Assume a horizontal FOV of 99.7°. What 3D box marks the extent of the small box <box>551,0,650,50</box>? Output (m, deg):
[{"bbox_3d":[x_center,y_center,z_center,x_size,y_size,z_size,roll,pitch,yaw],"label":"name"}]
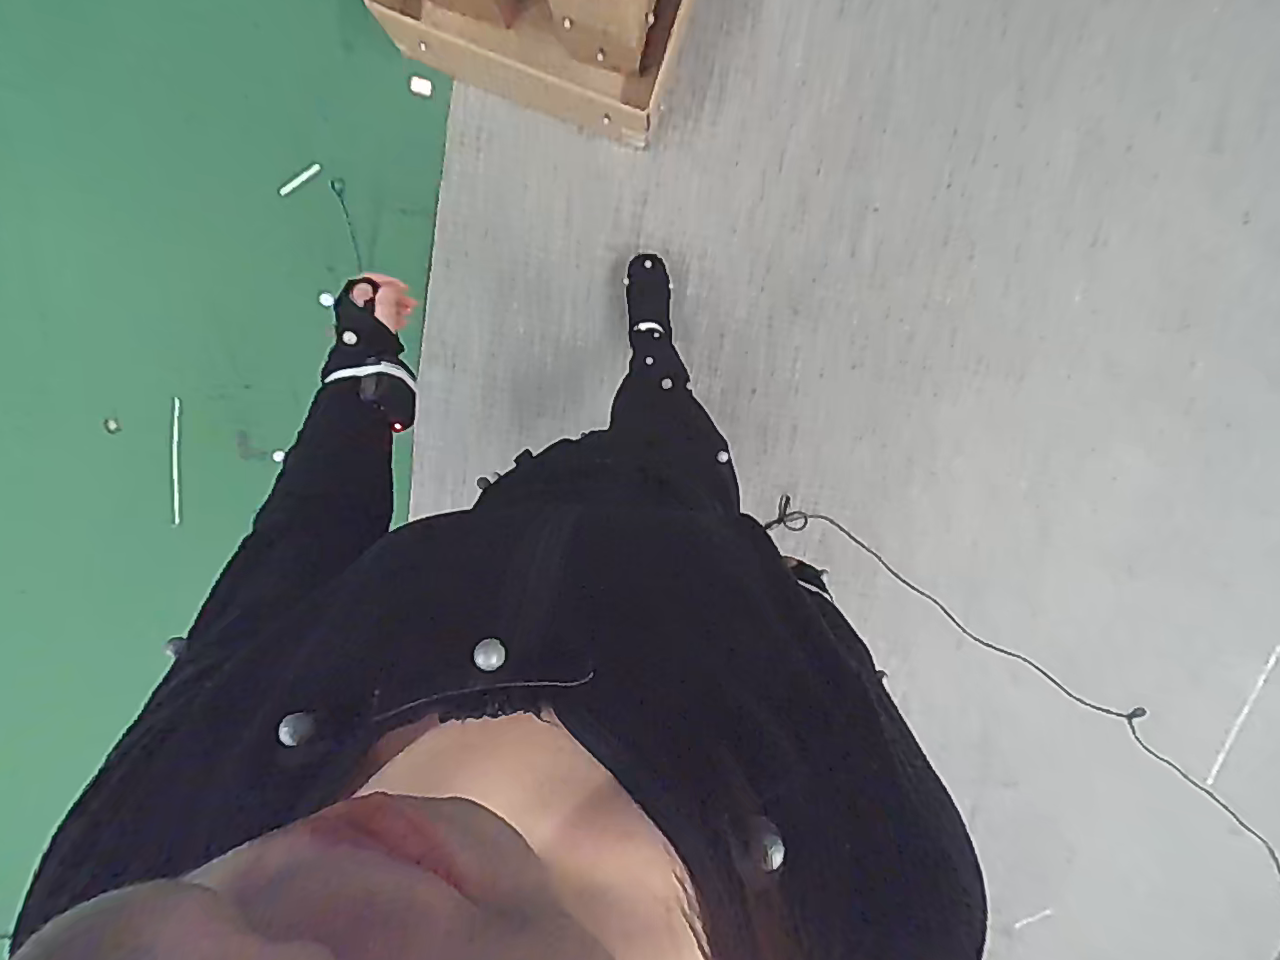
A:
[{"bbox_3d":[-0.062,-0.918,0.957,0.168,0.176,0.179,18,104,-2],"label":"small box"}]
